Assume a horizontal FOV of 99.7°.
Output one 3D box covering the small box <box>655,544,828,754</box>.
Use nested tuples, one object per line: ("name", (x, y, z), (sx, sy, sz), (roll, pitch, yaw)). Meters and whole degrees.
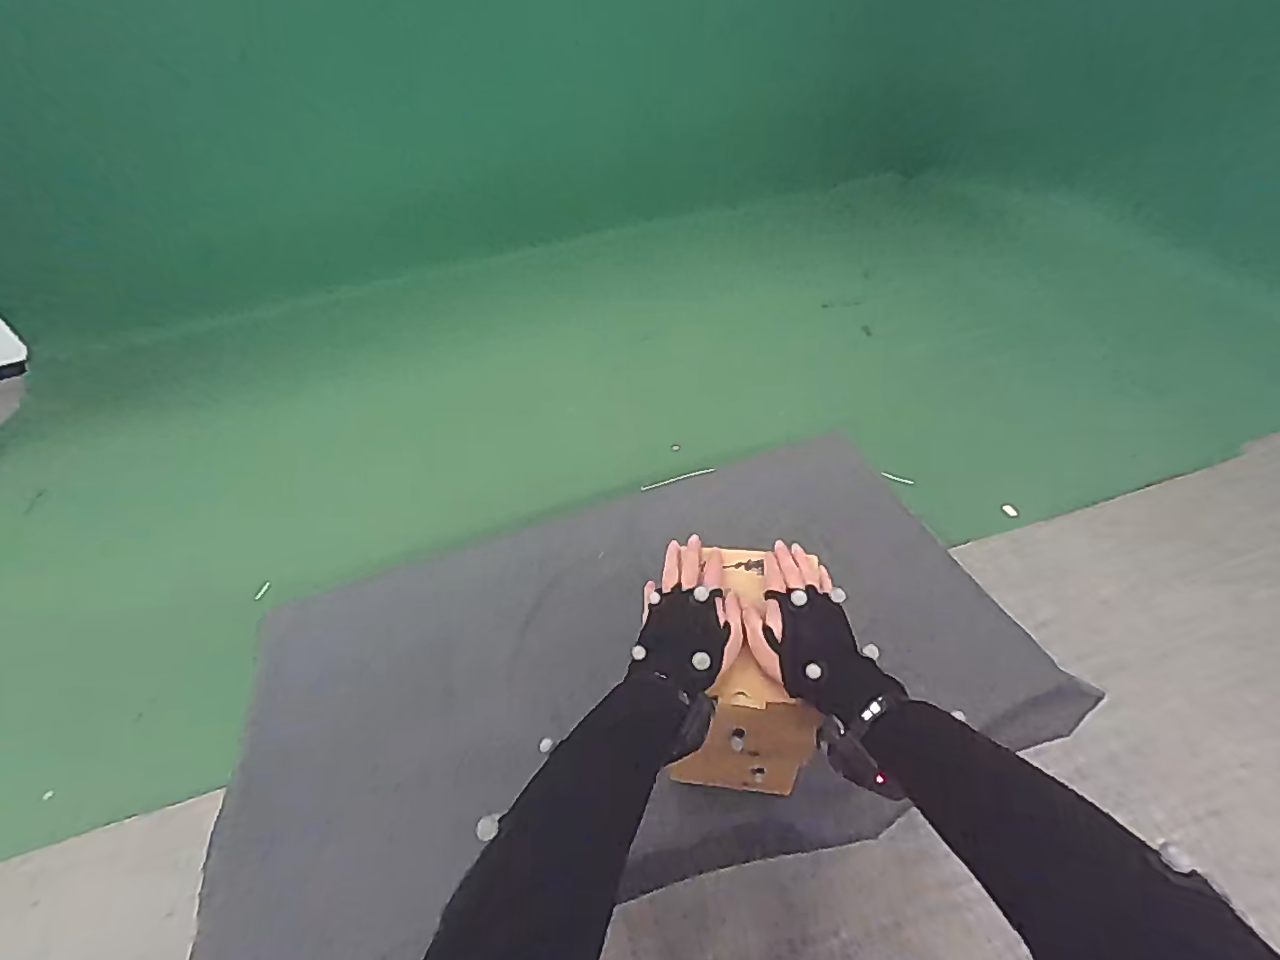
("small box", (0.114, 0.197, 0.623), (0.168, 0.176, 0.179), (3, 48, 9))

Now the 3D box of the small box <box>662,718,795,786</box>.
("small box", (0.126, 0.300, 0.747), (0.168, 0.176, 0.179), (2, 46, 9))
